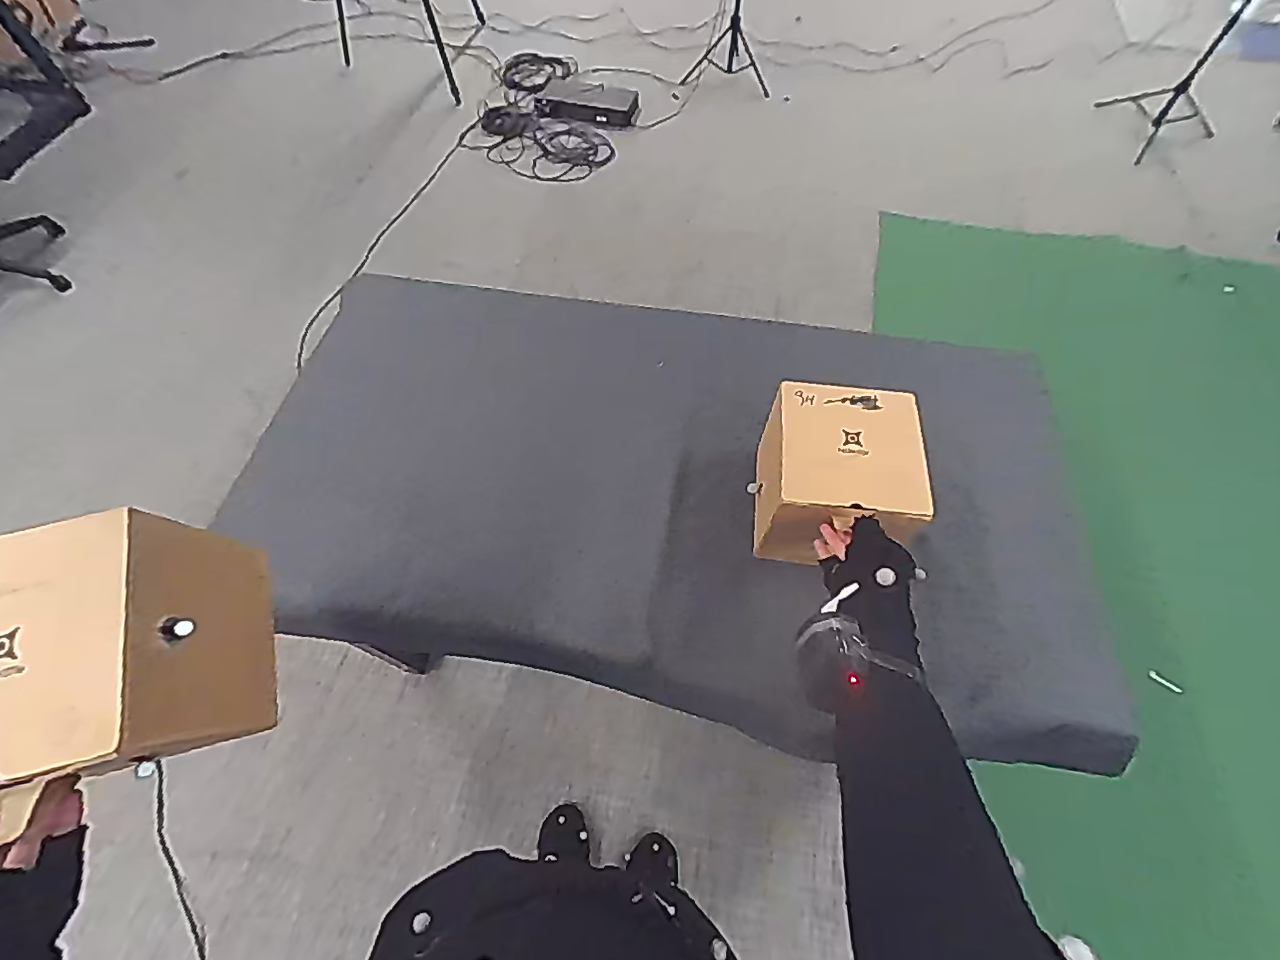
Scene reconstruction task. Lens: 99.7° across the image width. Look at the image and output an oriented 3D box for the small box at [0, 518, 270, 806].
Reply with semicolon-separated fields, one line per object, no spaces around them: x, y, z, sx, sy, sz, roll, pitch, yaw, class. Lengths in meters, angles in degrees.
-0.435;0.150;0.440;0.168;0.176;0.179;-14;71;-6;small box
